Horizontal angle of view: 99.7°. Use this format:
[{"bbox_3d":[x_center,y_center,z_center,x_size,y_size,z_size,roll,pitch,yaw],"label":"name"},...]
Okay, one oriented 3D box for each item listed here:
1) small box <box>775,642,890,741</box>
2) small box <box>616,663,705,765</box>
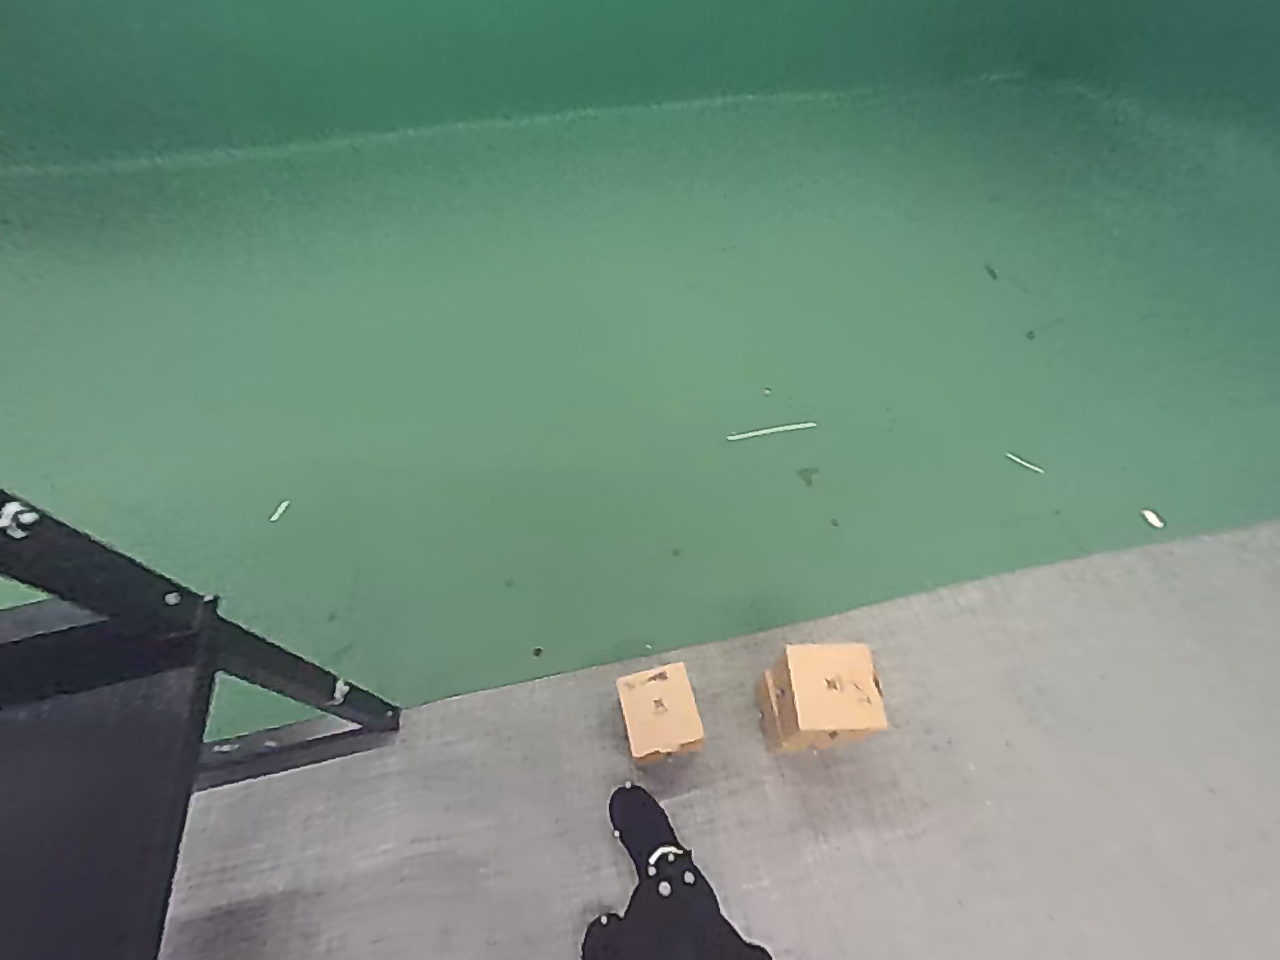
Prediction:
[{"bbox_3d":[0.390,0.447,1.137,0.179,0.176,0.168,-2,57,0],"label":"small box"},{"bbox_3d":[0.046,0.556,1.270,0.168,0.176,0.179,-13,56,-7],"label":"small box"}]
